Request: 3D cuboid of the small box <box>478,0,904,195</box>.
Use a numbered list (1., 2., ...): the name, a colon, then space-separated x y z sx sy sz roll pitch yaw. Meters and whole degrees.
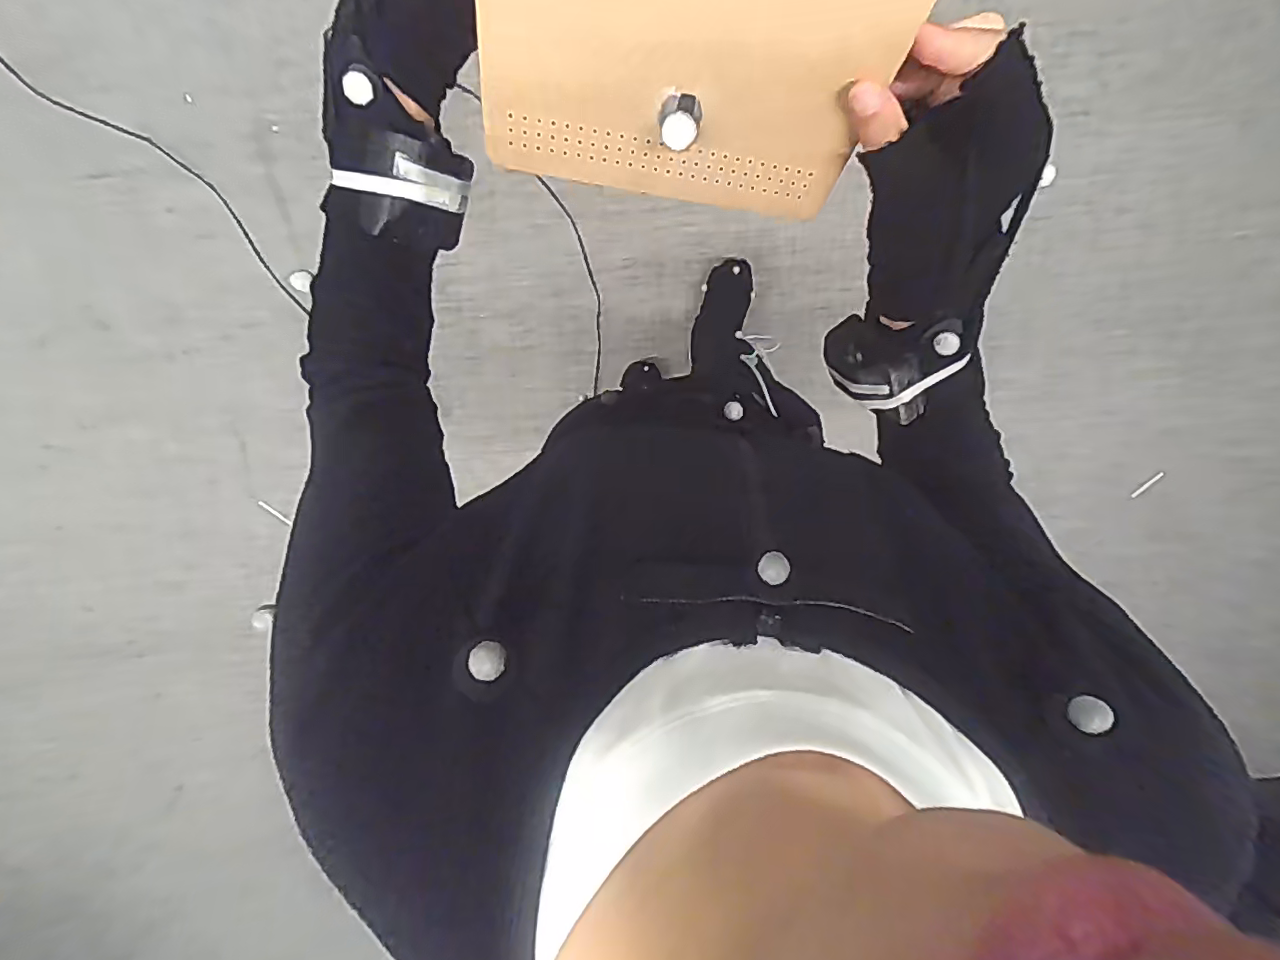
1. small box: 0.024 -0.265 0.249 0.179 0.176 0.168 5 62 -10
